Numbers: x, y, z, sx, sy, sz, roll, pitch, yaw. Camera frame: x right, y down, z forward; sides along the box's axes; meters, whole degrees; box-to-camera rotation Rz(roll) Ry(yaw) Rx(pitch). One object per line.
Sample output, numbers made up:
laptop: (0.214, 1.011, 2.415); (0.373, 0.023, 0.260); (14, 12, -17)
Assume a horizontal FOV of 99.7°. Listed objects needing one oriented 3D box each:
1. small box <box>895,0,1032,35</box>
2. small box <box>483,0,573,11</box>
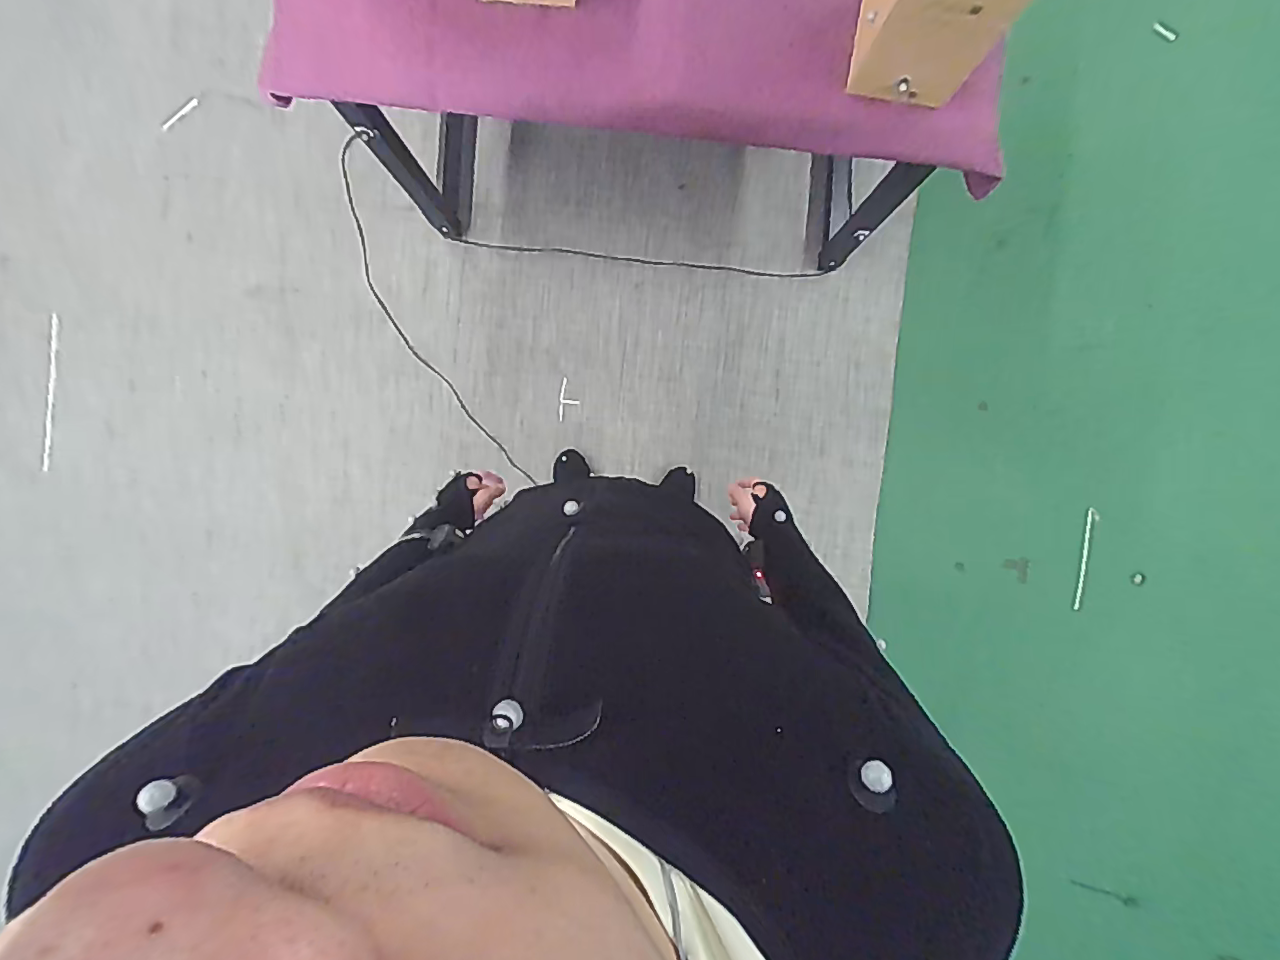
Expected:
small box: (0.435, -0.706, 0.657); (0.168, 0.176, 0.179); (10, 90, 0)
small box: (-0.183, -0.868, 0.811); (0.168, 0.176, 0.179); (4, 92, -1)
